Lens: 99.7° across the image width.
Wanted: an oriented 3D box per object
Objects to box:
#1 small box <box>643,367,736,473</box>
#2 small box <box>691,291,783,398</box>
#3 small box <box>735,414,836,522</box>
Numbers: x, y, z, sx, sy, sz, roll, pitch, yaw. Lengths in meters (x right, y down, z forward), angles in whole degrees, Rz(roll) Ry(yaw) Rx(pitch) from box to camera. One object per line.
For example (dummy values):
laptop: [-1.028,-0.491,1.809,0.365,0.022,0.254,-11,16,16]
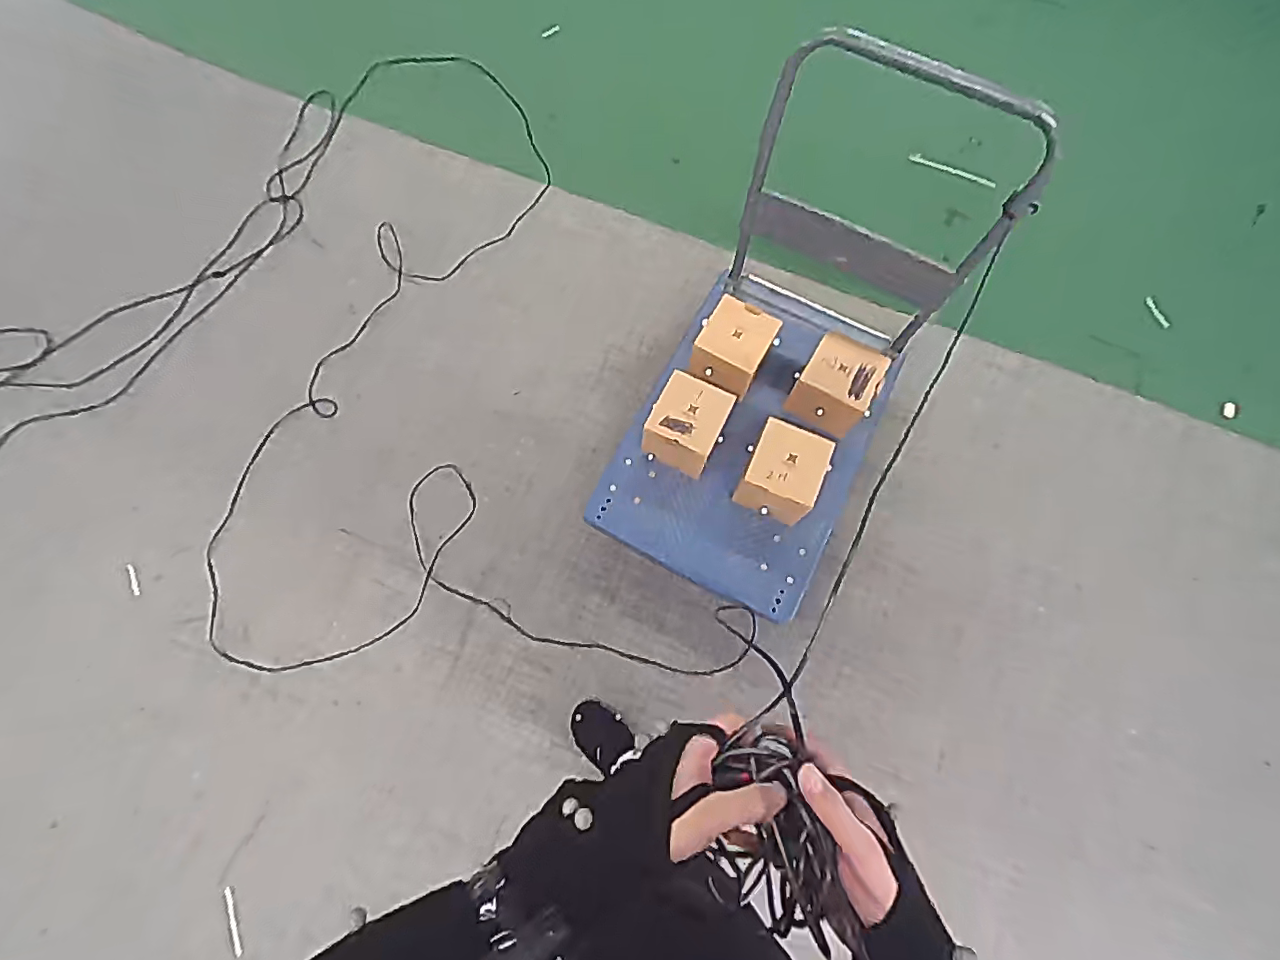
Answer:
small box: [0.117,-0.139,1.331,0.168,0.176,0.179,26,73,6]
small box: [0.242,-0.343,1.401,0.168,0.176,0.179,29,73,8]
small box: [0.341,-0.023,1.299,0.168,0.176,0.179,24,73,7]
